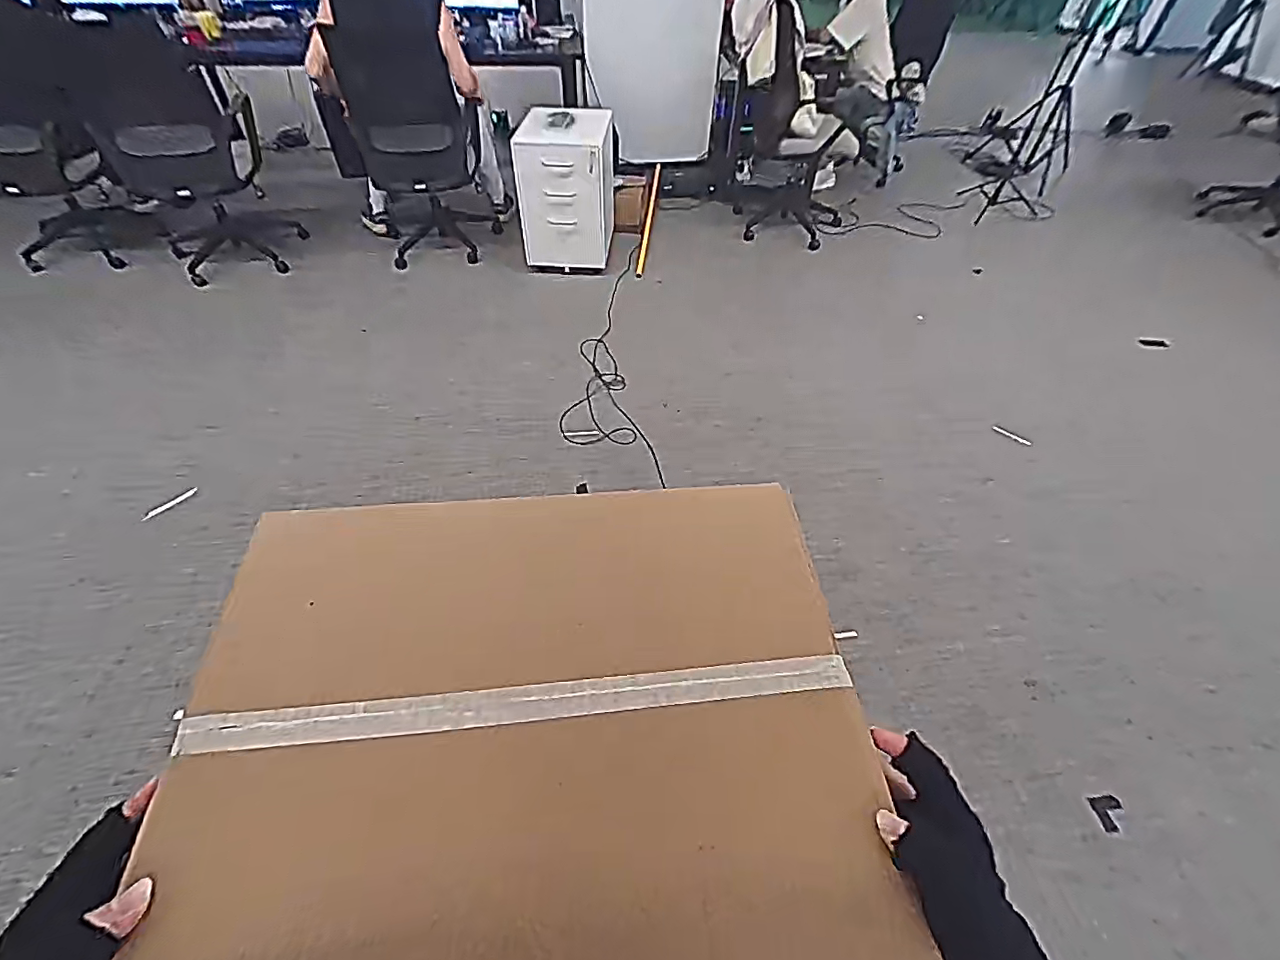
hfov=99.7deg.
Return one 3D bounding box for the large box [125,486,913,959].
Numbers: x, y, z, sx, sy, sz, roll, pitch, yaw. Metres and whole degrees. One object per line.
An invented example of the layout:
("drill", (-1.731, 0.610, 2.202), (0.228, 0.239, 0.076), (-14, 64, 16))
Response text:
("large box", (-0.073, 0.228, 0.466), (0.408, 0.320, 0.320), (-4, 53, -5))
